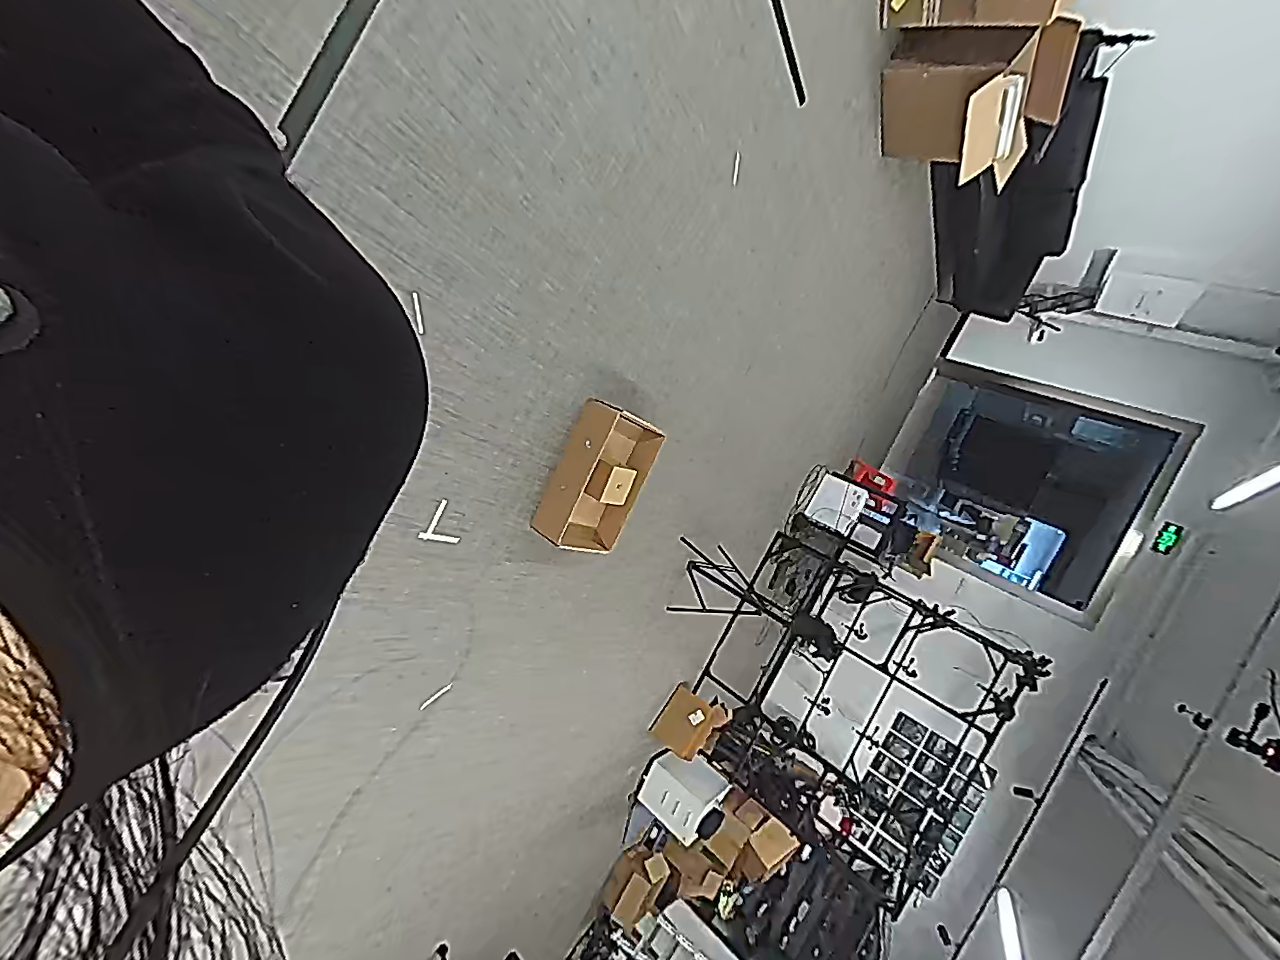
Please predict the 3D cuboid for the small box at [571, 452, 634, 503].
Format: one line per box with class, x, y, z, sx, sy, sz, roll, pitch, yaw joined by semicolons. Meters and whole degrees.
small box;-0.164;-0.010;2.339;0.179;0.176;0.168;10;104;-56
